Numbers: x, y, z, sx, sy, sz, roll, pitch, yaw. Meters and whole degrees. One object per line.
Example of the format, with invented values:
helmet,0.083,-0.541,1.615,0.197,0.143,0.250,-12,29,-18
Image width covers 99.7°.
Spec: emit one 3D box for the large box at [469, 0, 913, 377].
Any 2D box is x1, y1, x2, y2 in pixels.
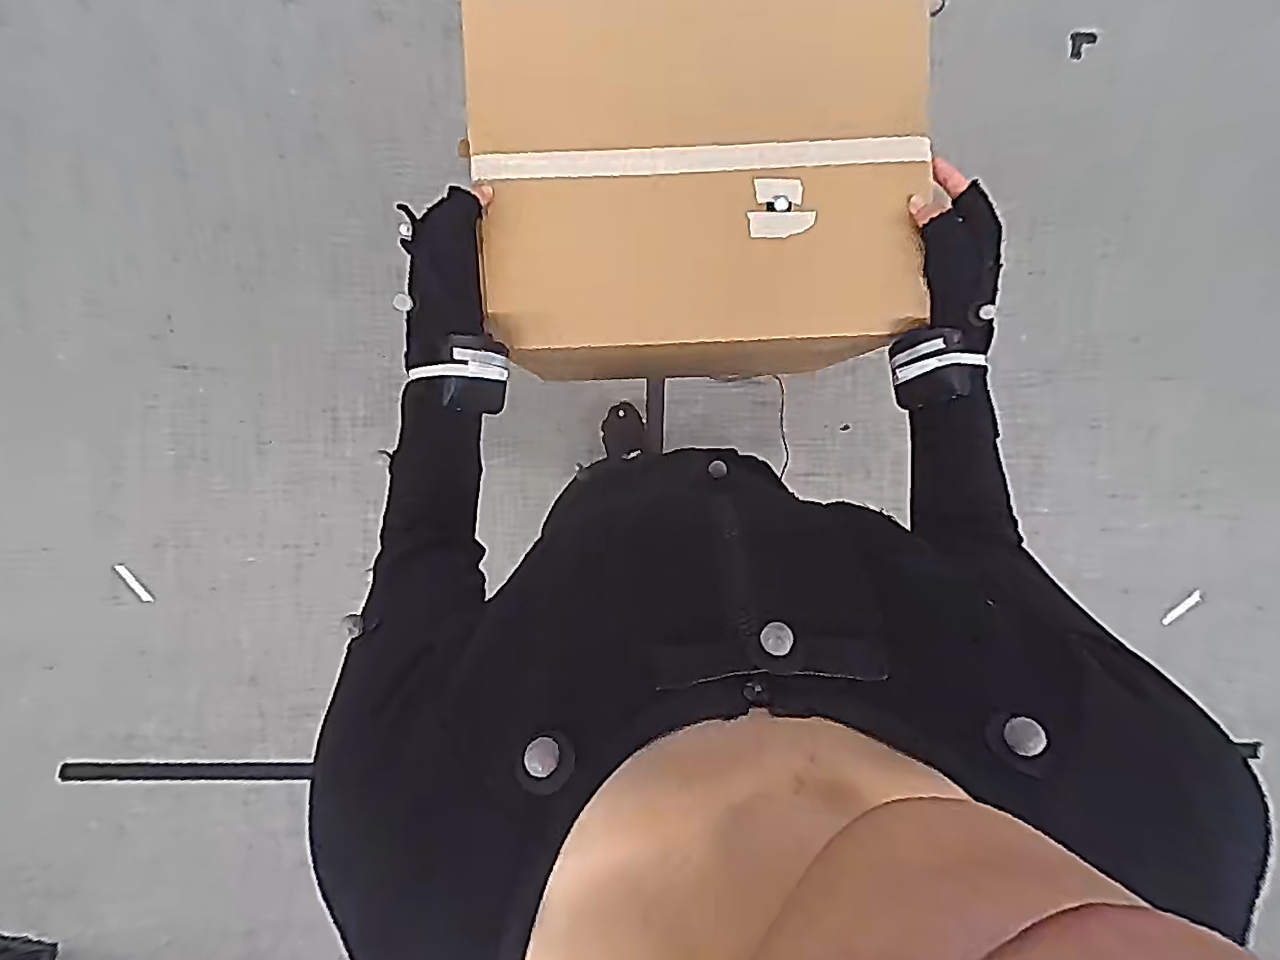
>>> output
large box,0.048,-0.303,0.644,0.408,0.320,0.320,-3,96,-1
